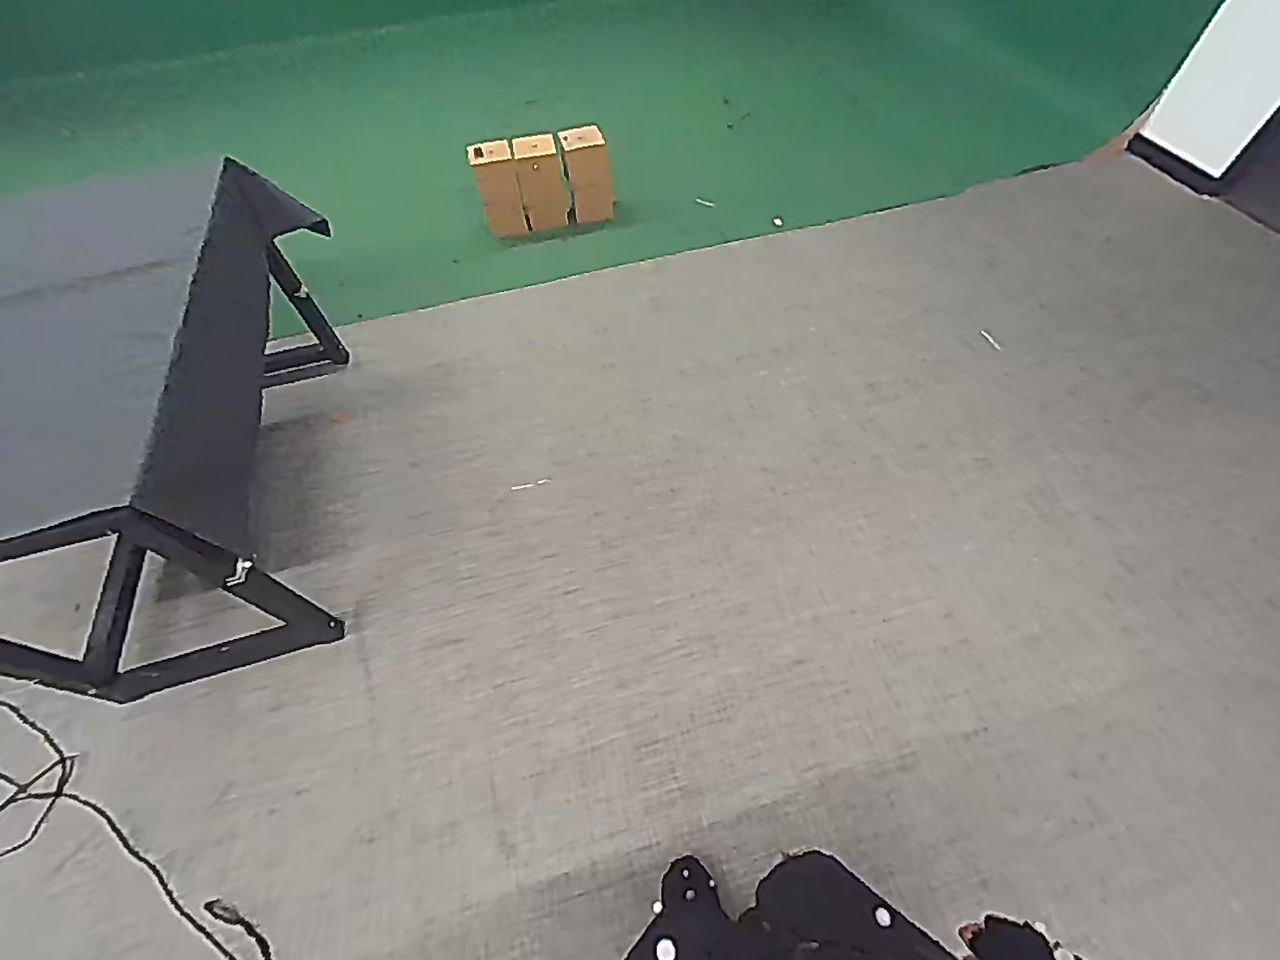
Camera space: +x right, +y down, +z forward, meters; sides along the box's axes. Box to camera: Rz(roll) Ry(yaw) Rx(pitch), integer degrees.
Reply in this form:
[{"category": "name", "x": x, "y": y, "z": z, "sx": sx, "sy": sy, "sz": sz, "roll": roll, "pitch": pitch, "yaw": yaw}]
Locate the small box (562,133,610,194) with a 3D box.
[{"category": "small box", "x": -0.234, "y": -1.391, "z": 2.376, "sx": 0.179, "sy": 0.176, "sz": 0.168, "roll": -14, "pitch": 57, "yaw": -7}]
